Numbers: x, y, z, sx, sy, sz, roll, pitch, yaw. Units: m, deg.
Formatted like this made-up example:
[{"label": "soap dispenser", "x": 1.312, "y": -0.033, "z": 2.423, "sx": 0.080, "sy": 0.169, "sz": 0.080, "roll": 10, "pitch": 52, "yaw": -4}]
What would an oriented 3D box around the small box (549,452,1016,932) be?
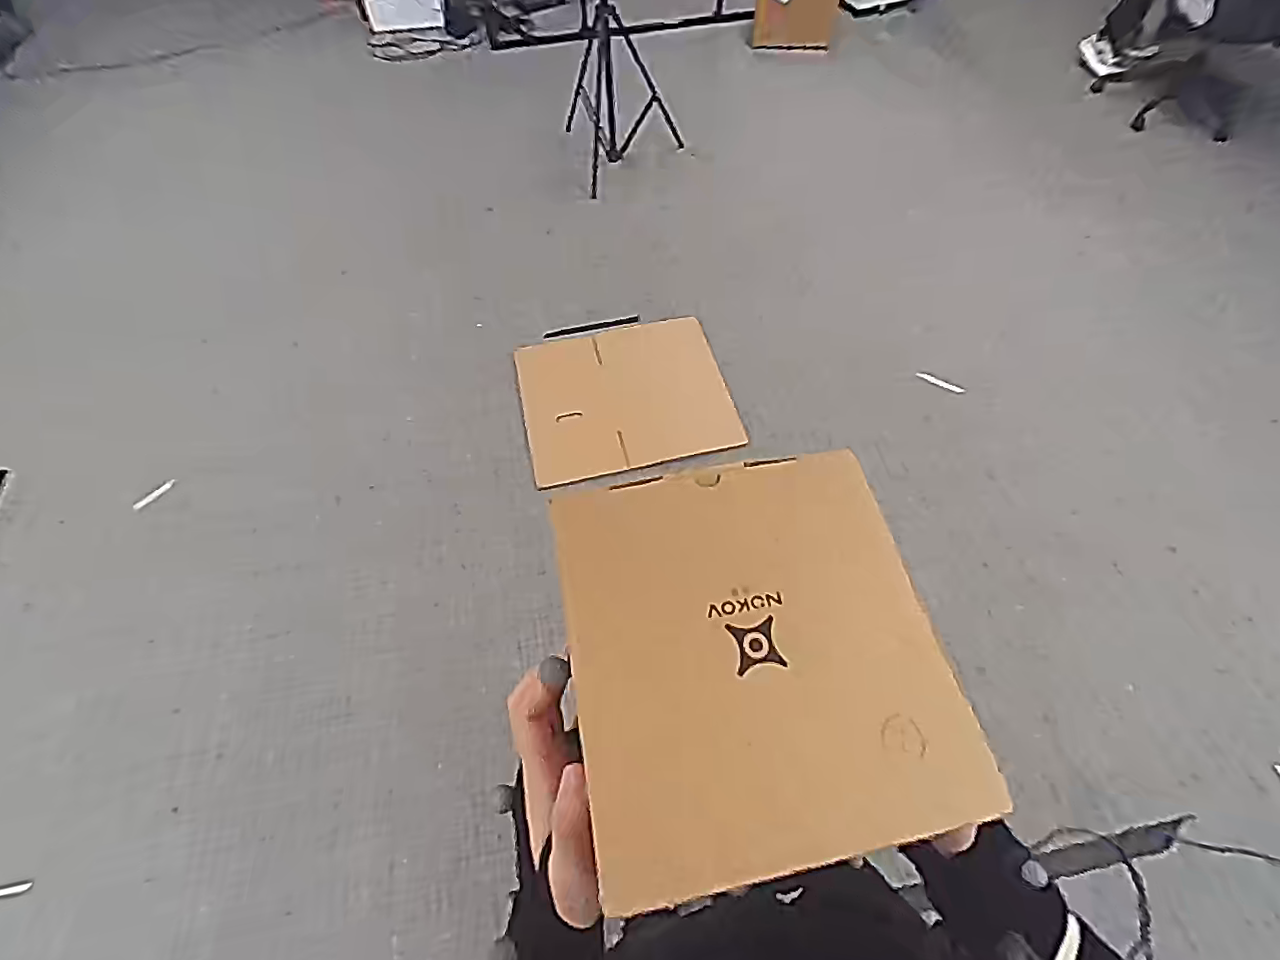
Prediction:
[{"label": "small box", "x": 0.050, "y": 0.111, "z": 0.310, "sx": 0.168, "sy": 0.176, "sz": 0.179, "roll": -10, "pitch": 61, "yaw": -7}]
